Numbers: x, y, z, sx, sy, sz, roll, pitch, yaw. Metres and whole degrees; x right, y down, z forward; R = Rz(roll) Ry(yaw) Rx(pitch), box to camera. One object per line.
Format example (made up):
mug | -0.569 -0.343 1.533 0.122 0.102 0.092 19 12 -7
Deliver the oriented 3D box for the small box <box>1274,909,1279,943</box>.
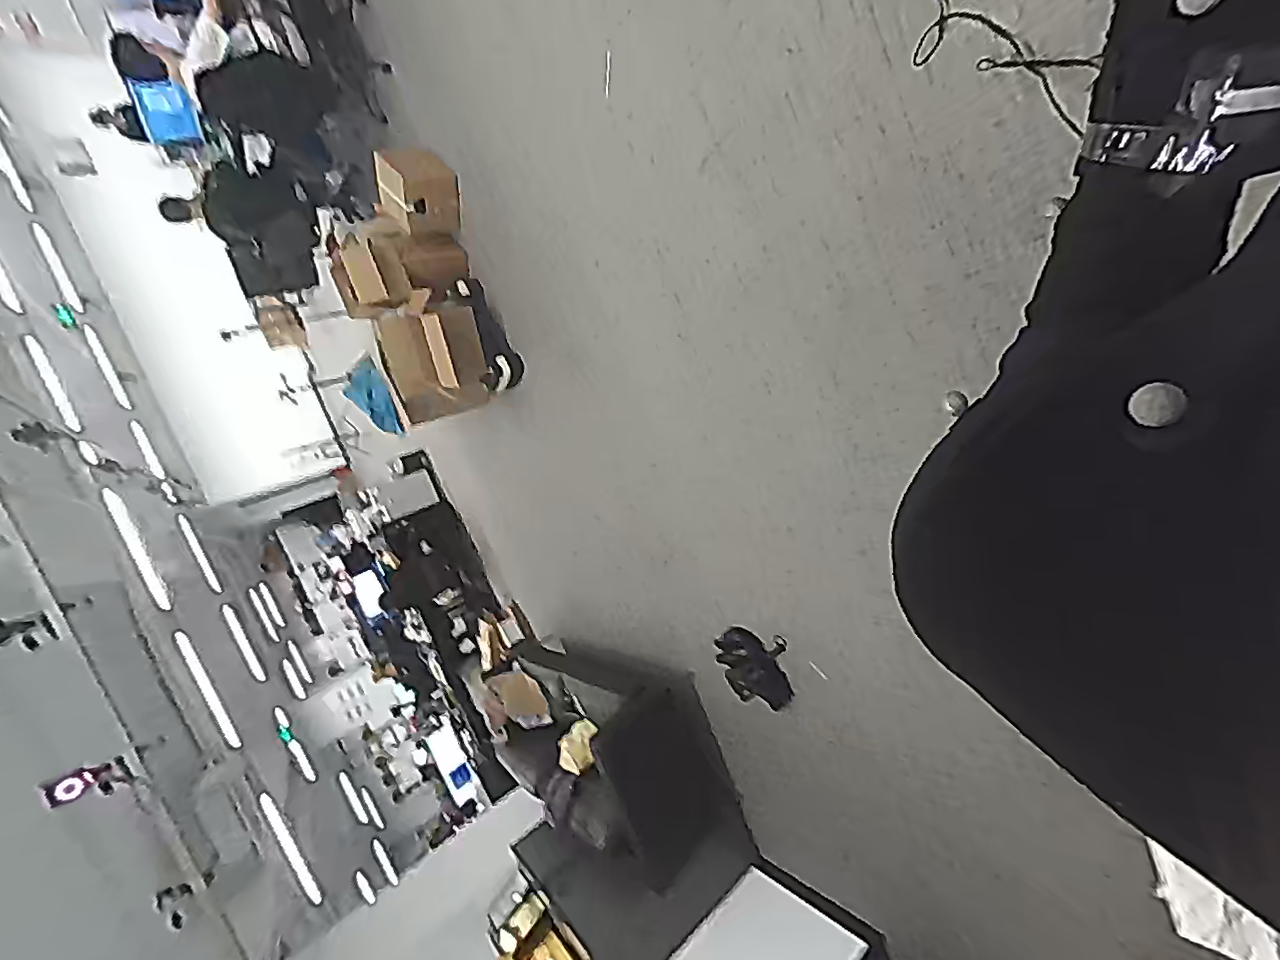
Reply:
small box | 0.856 0.530 0.594 0.179 0.176 0.168 -10 102 58
